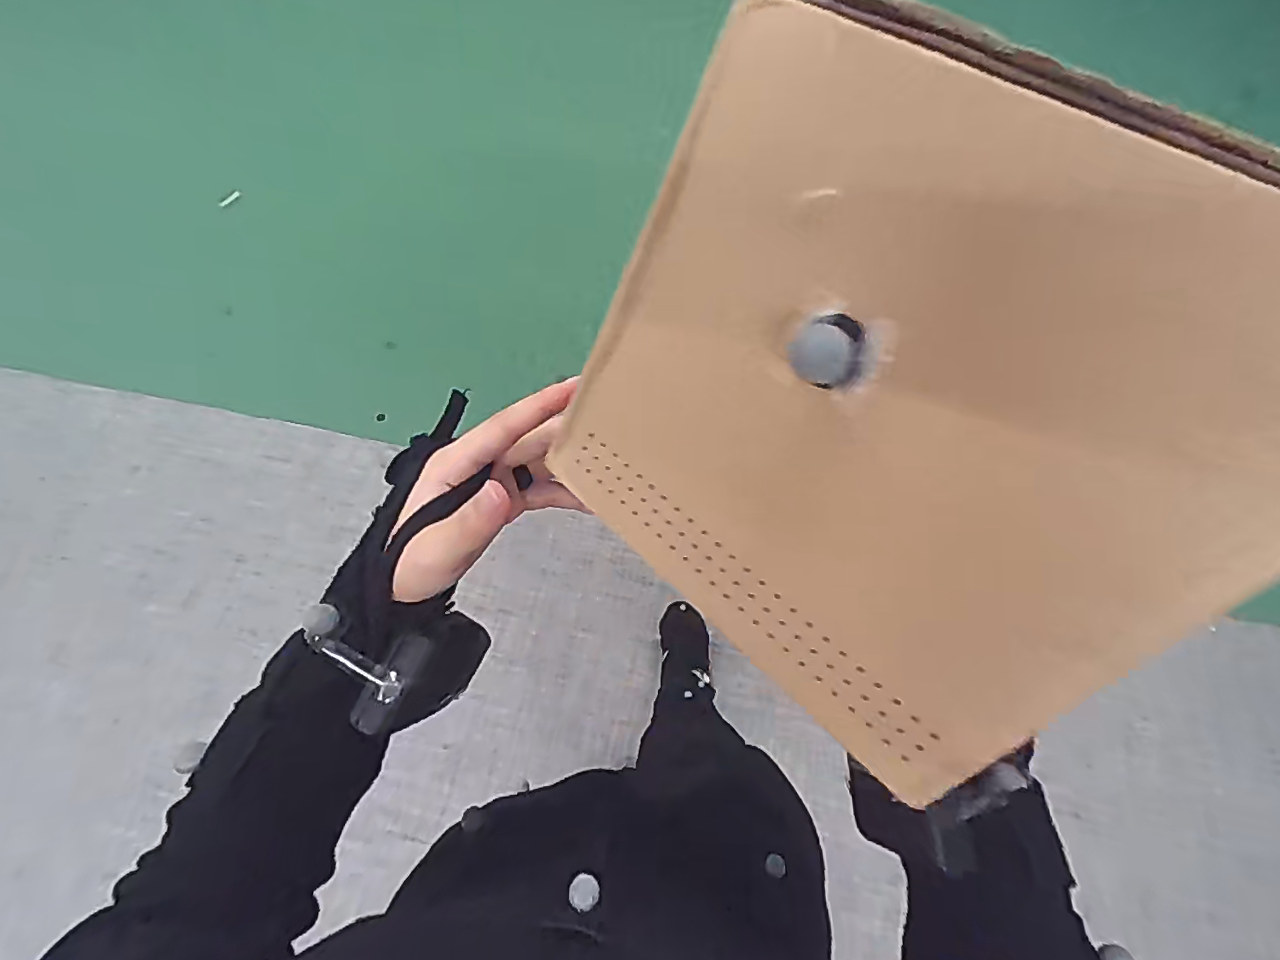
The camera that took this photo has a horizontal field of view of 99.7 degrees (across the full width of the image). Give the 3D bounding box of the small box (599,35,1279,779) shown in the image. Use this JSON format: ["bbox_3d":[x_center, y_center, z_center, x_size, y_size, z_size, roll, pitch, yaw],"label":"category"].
[{"bbox_3d":[0.112,-0.026,0.223,0.179,0.176,0.168,39,33,19],"label":"small box"}]
